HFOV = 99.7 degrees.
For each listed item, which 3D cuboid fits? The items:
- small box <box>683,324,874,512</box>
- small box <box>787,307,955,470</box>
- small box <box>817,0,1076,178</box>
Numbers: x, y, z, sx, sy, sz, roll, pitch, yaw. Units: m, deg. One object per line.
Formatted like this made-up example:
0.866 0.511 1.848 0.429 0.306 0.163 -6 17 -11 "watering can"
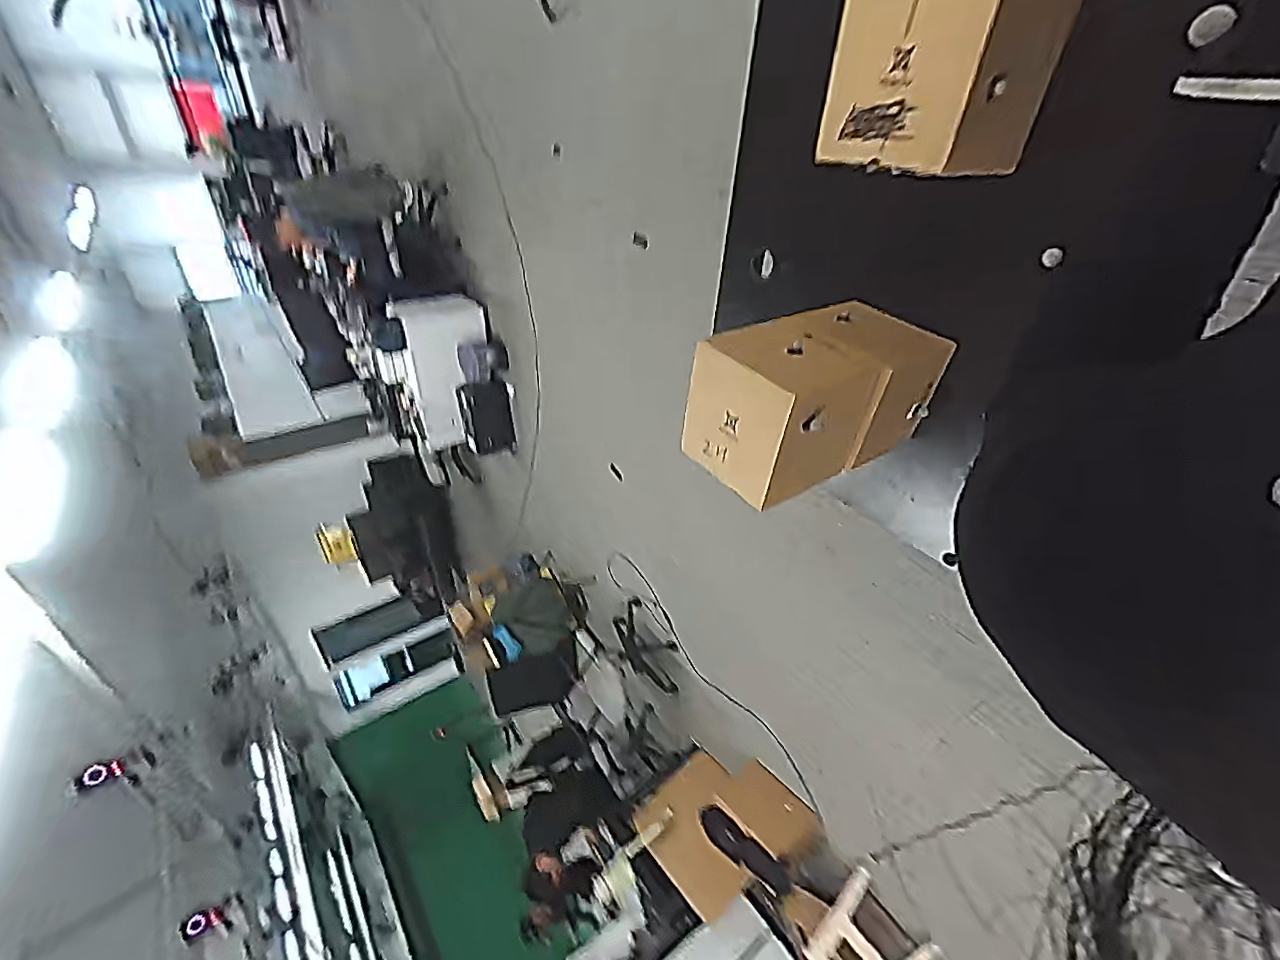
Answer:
0.183 -0.093 0.730 0.168 0.176 0.179 43 142 37 "small box"
0.319 -0.146 0.806 0.179 0.176 0.168 41 141 36 "small box"
0.331 -0.445 0.598 0.168 0.176 0.179 39 138 40 "small box"
